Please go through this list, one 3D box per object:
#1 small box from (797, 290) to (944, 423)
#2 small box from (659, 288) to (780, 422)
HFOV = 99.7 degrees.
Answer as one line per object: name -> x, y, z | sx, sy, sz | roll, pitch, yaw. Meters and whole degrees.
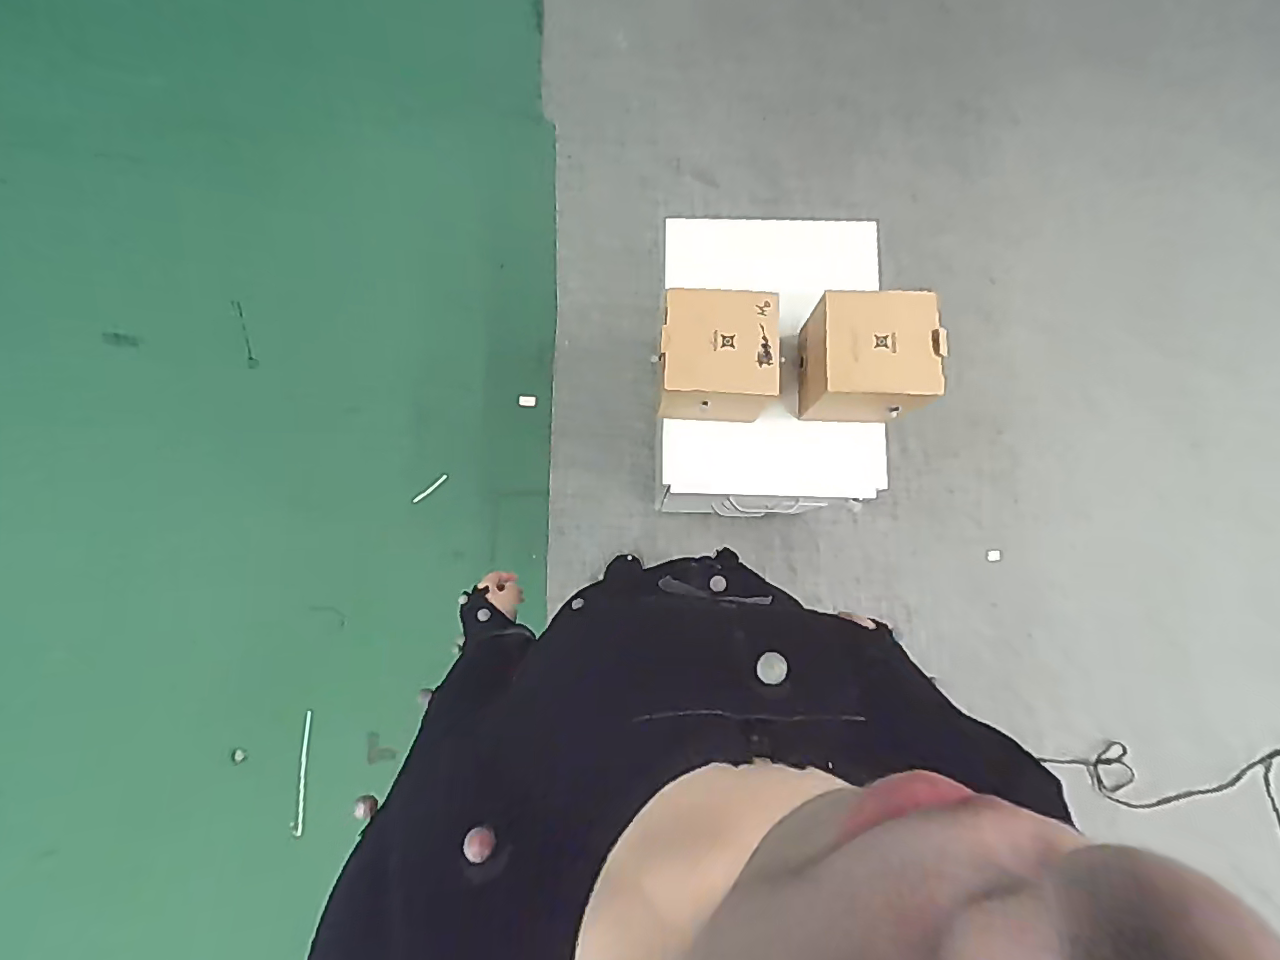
small box -> 0.368, -0.194, 0.888 | 0.179, 0.176, 0.168 | 2, 81, 2
small box -> 0.122, -0.196, 0.887 | 0.179, 0.176, 0.168 | 3, 82, 0
